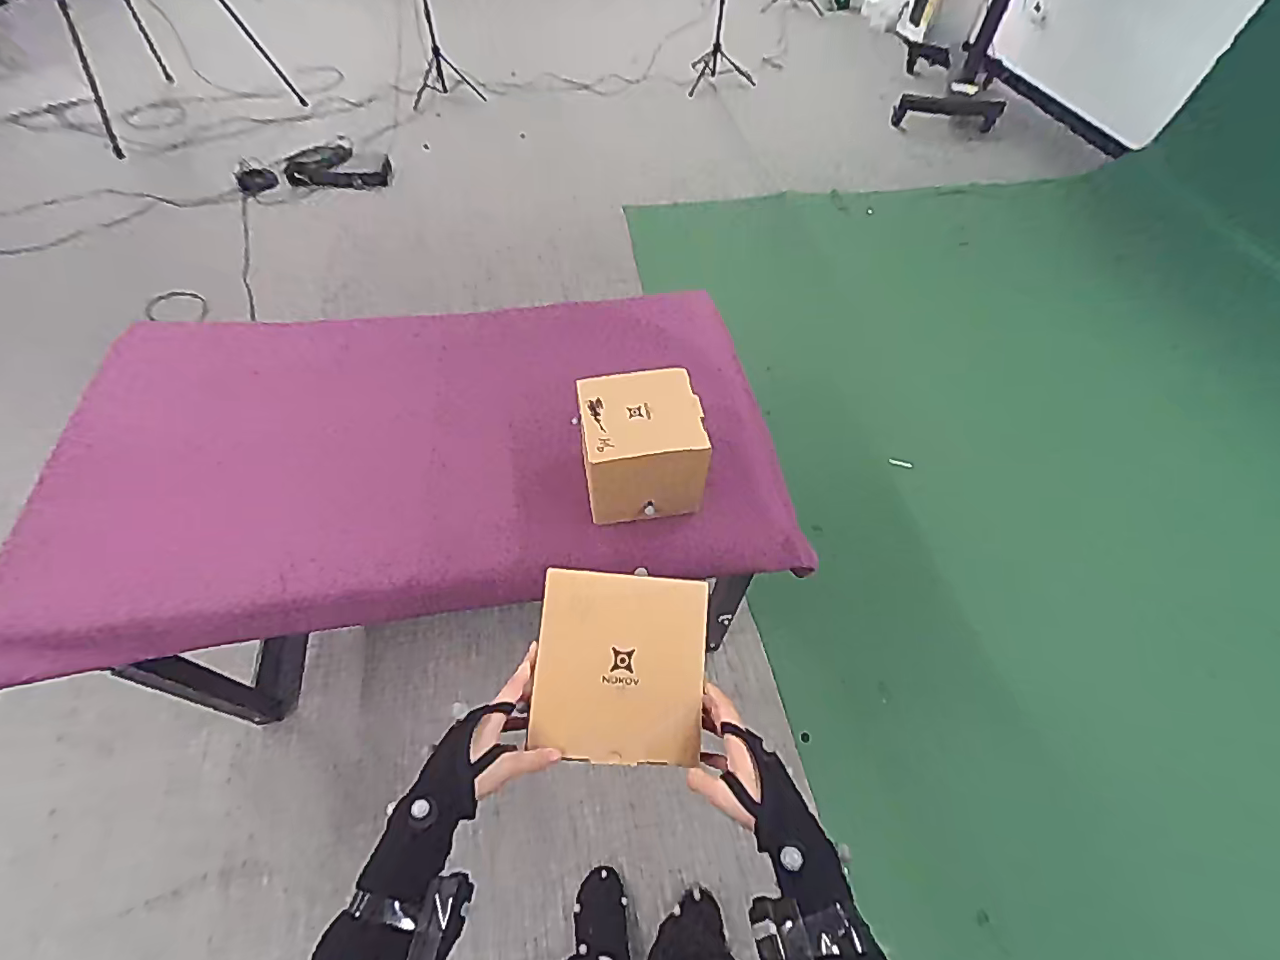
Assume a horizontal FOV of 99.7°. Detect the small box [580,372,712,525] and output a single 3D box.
[{"bbox_3d":[0.002,-0.047,0.856,0.179,0.176,0.168,-7,53,-6],"label":"small box"}]
